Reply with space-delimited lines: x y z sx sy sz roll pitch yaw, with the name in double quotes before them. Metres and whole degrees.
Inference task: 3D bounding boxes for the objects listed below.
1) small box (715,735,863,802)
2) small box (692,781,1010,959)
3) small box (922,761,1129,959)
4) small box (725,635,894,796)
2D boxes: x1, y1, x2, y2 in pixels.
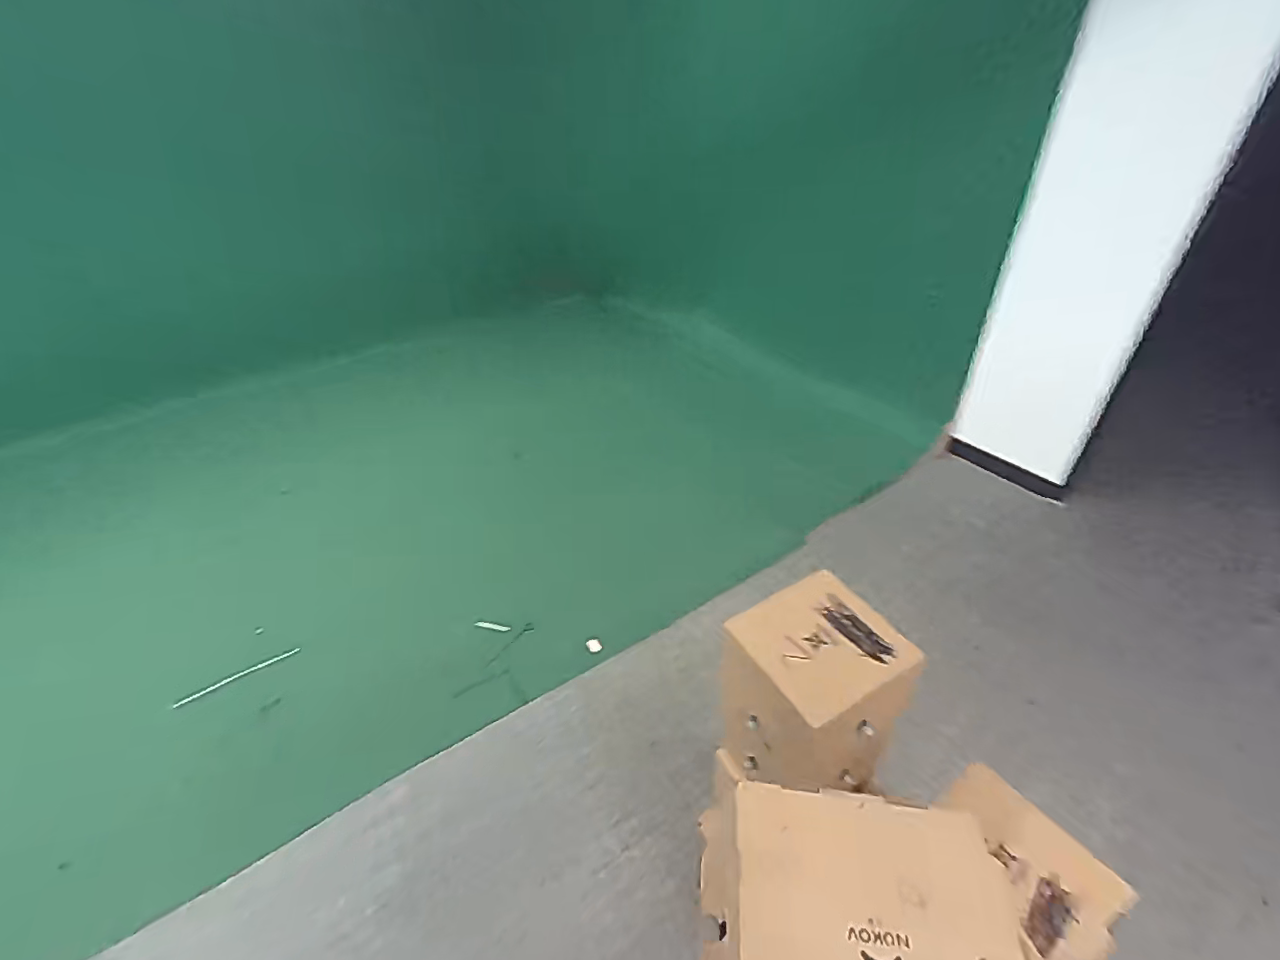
"small box" 0.244 0.512 0.920 0.179 0.176 0.168 -23 43 -22
"small box" 0.125 0.336 0.359 0.168 0.176 0.179 7 40 2
"small box" 0.420 0.496 0.658 0.168 0.176 0.179 -23 40 -22
"small box" 0.246 0.379 0.822 0.179 0.176 0.168 -21 43 -20
